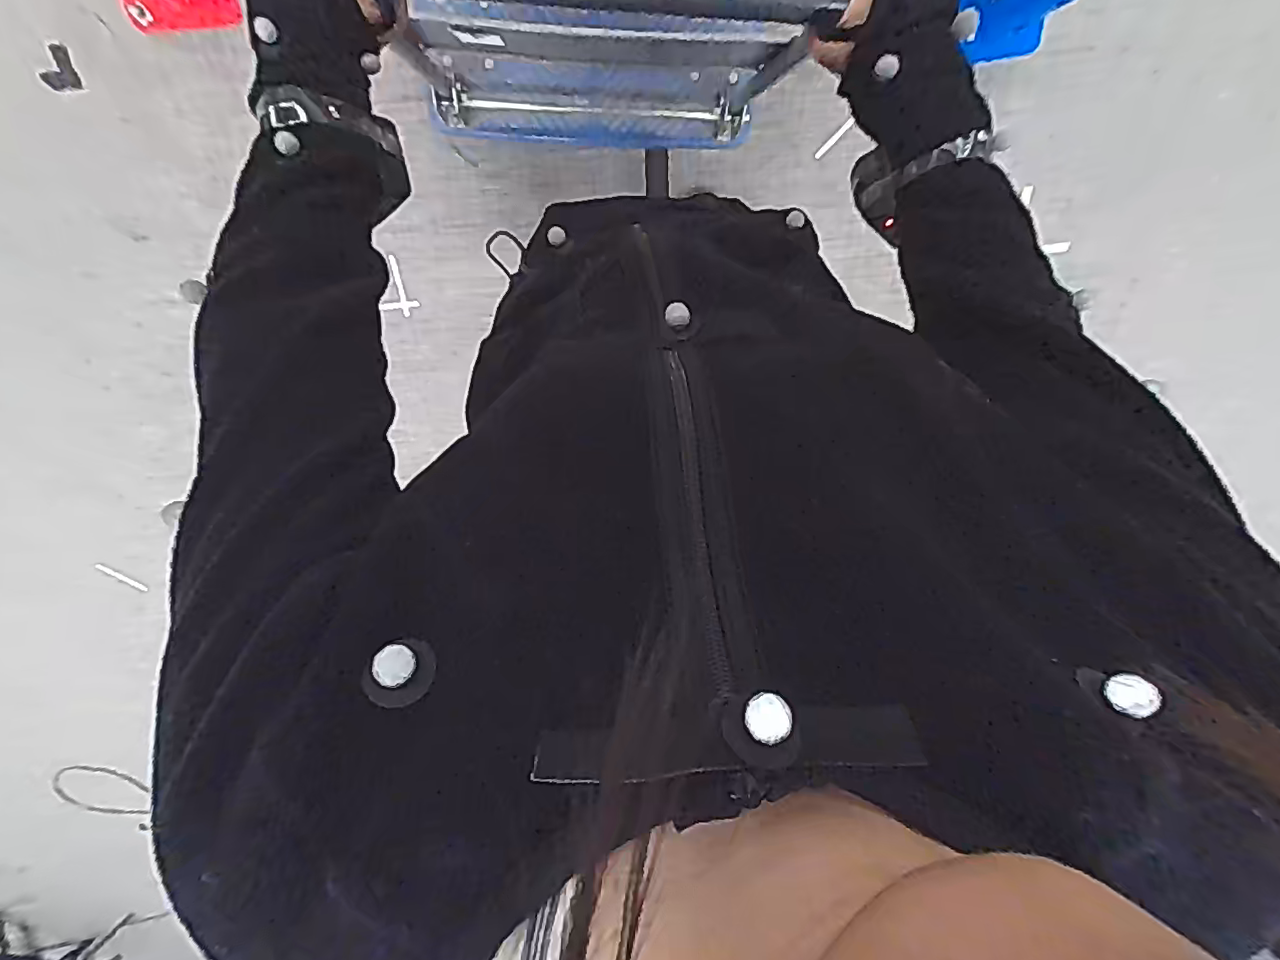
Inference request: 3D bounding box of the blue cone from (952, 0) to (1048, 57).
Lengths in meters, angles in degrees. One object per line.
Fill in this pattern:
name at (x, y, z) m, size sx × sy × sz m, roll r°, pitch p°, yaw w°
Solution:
blue cone at (0.720, -0.871, 0.910) m, size 0.193 × 0.380 × 0.192 m, roll -9°, pitch 119°, yaw 0°
